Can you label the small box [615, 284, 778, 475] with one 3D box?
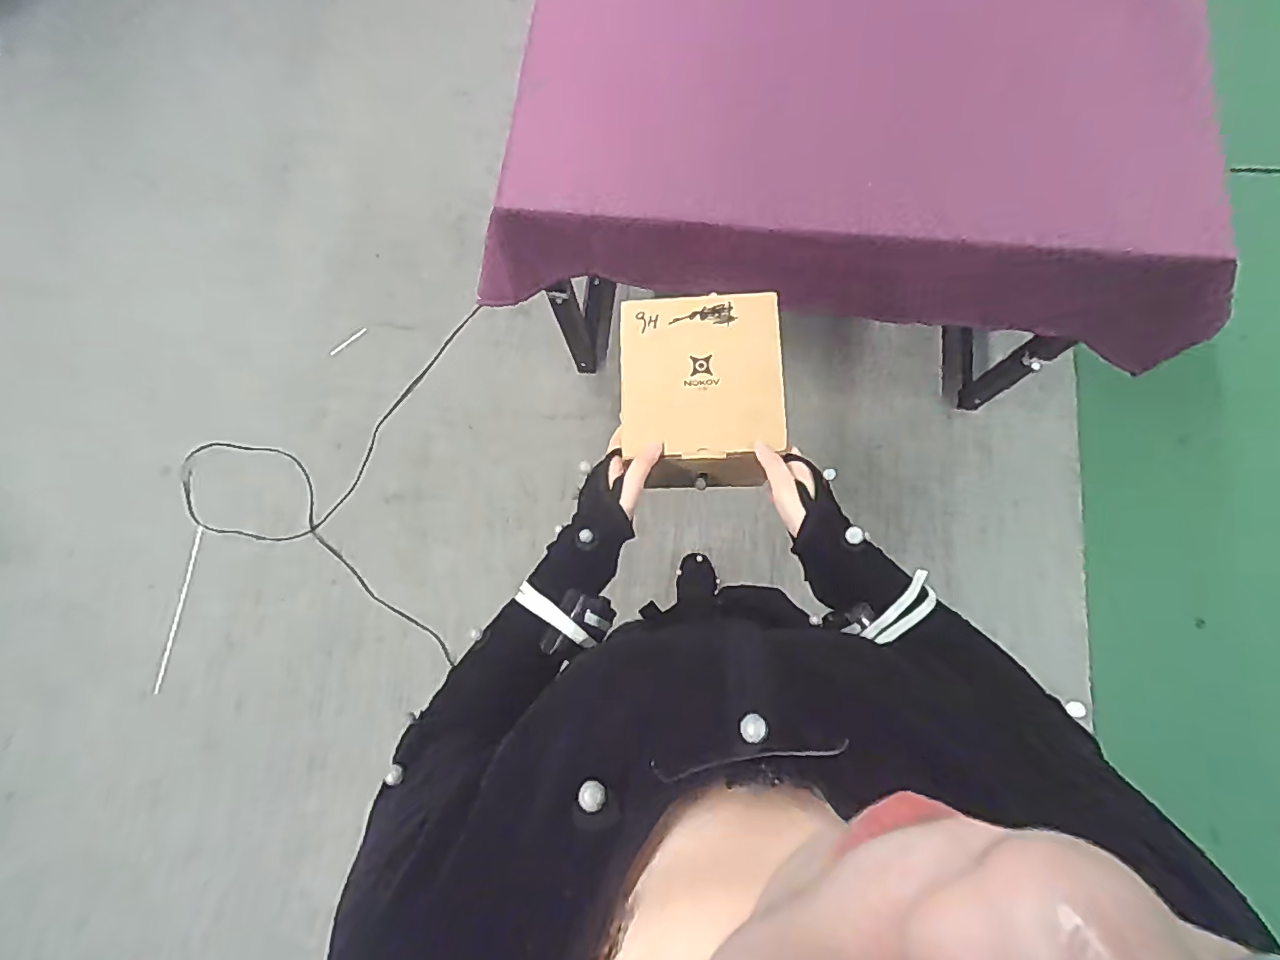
[{"bbox_3d":[0.065,-0.102,0.629,0.168,0.176,0.179,-1,79,5],"label":"small box"}]
